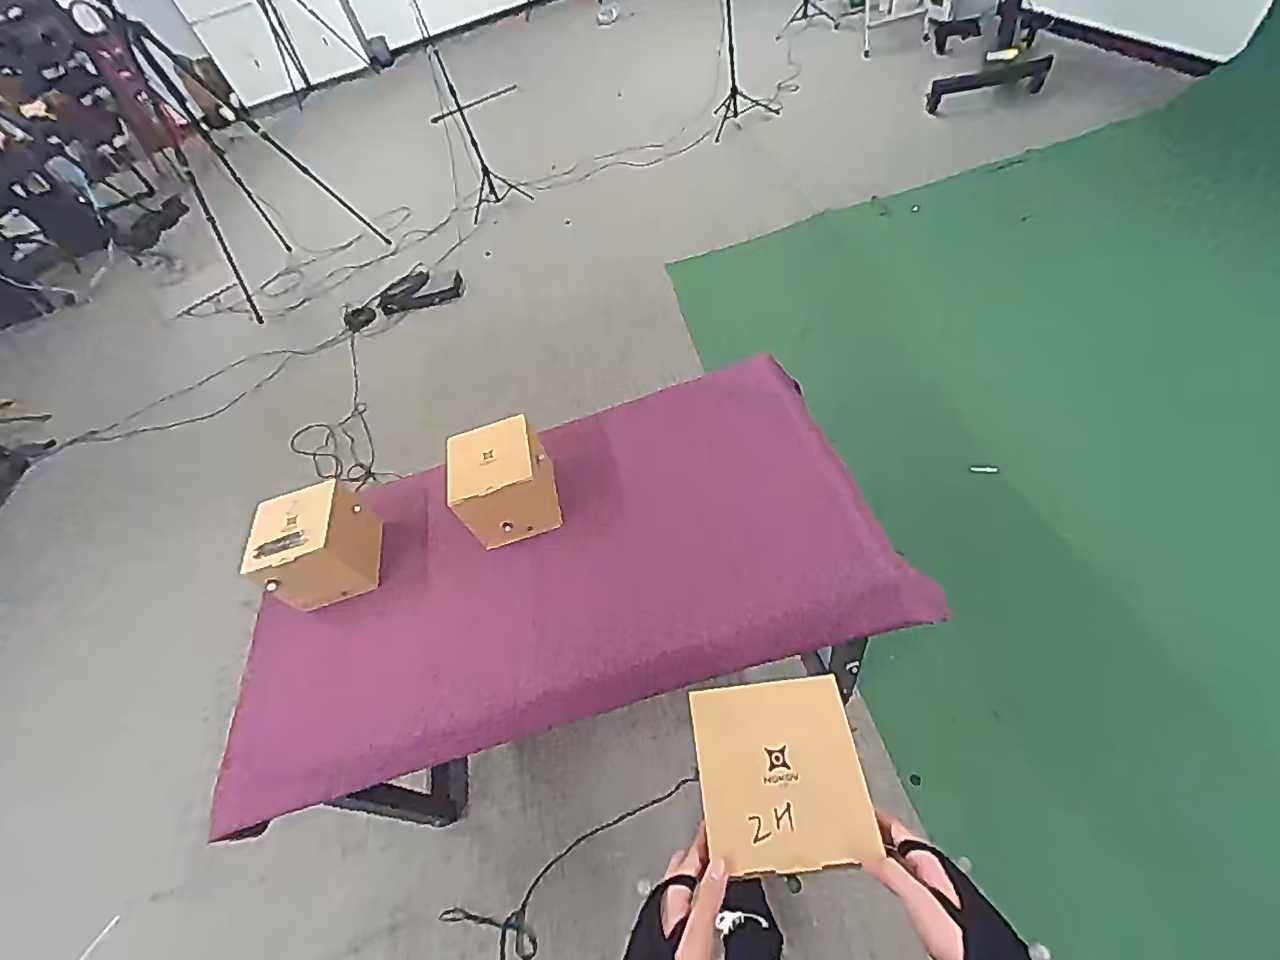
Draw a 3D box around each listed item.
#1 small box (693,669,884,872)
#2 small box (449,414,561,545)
[{"bbox_3d":[0.155,0.337,0.622,0.168,0.176,0.179,-9,53,6],"label":"small box"},{"bbox_3d":[-0.269,0.002,1.089,0.168,0.176,0.179,-17,52,1],"label":"small box"}]
